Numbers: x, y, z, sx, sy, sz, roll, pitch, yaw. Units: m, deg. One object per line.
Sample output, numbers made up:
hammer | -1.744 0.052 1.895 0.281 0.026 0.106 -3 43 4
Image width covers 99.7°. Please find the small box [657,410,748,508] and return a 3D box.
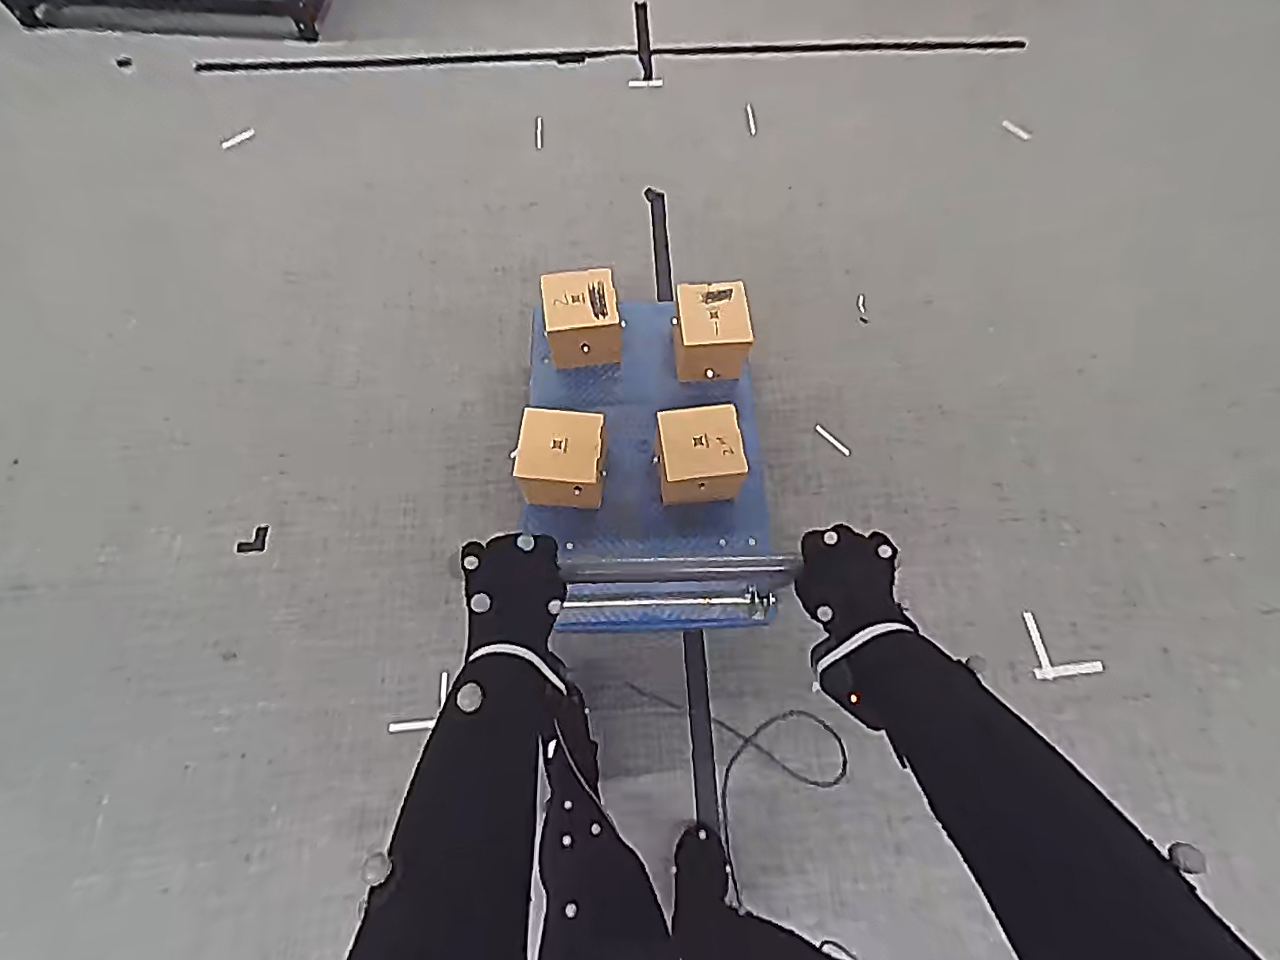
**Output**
small box | 0.133 -0.043 1.236 0.179 0.176 0.168 -6 69 -3

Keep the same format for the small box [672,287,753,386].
small box | 0.175 -0.357 1.359 0.168 0.176 0.179 -4 70 -2

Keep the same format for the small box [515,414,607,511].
small box | -0.171 -0.034 1.228 0.179 0.176 0.168 5 68 -1
